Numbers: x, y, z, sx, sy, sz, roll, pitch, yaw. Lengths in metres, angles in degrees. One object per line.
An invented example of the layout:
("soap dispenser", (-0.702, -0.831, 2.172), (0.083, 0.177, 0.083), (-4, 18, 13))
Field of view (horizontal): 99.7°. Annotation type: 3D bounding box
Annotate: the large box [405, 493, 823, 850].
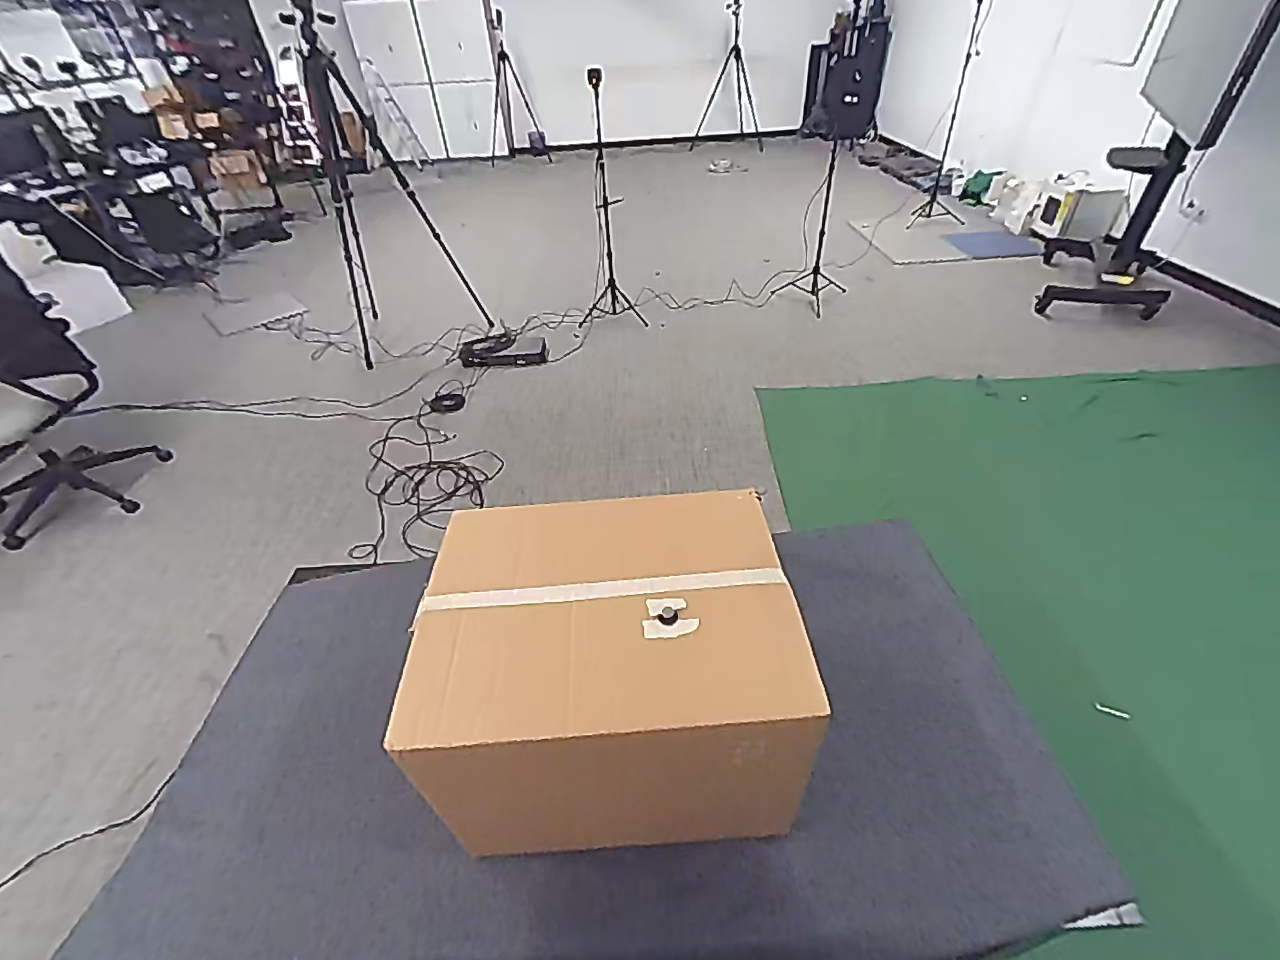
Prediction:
("large box", (-0.028, 0.245, 0.710), (0.408, 0.320, 0.320), (-4, 41, -1))
